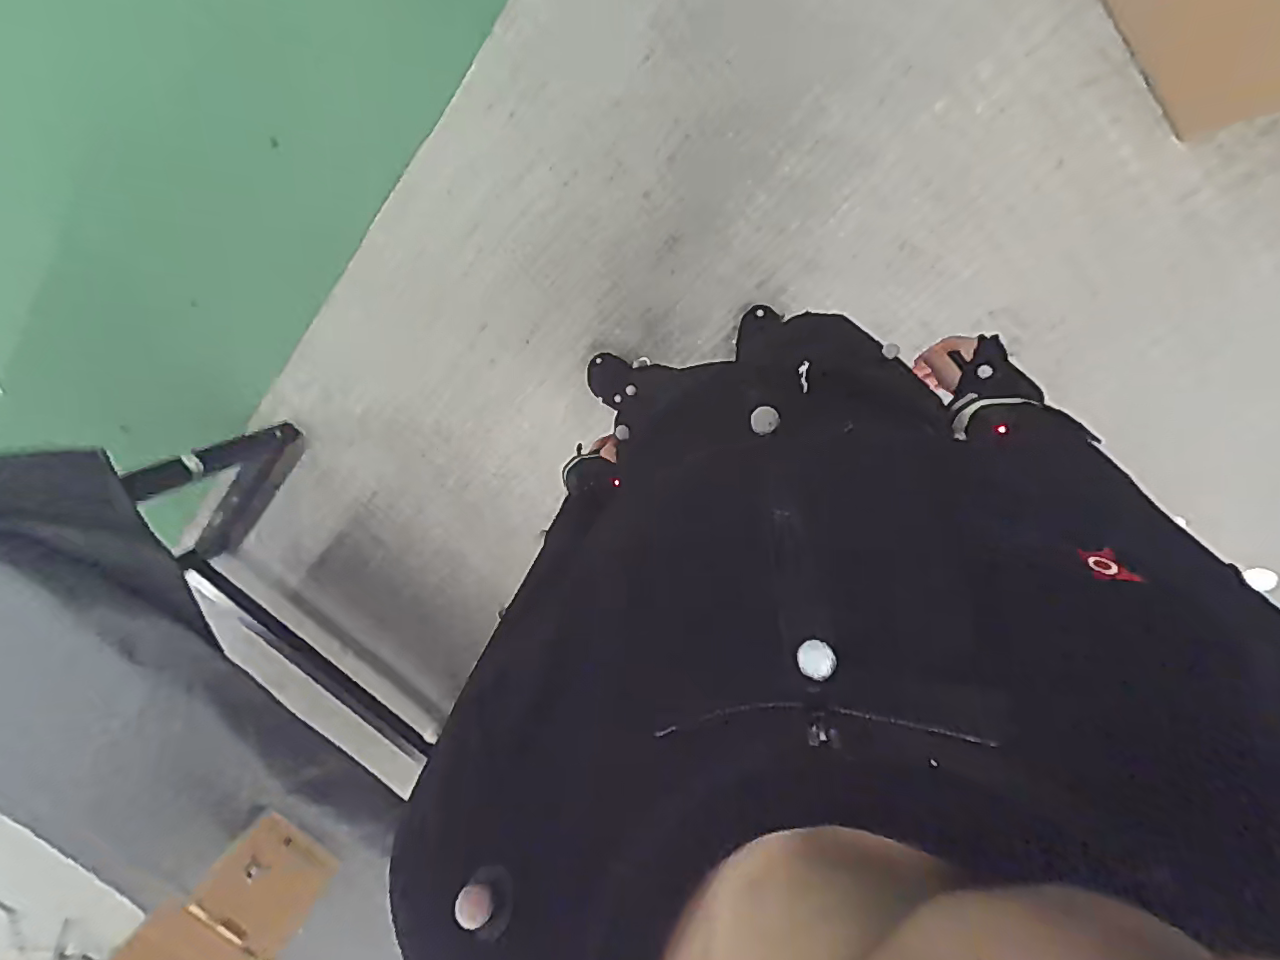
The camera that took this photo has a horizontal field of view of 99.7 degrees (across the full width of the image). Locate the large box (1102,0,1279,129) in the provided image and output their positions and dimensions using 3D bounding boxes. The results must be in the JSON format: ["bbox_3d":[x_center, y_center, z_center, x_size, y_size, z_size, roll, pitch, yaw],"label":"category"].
[{"bbox_3d":[0.970,-0.833,0.792,0.320,0.320,0.408,-39,101,20],"label":"large box"}]

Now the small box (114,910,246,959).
[{"bbox_3d":[-0.692,0.761,0.758,0.179,0.176,0.168,37,112,-4],"label":"small box"}]

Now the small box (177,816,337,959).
[{"bbox_3d":[-0.652,0.714,0.909,0.168,0.176,0.179,44,112,-6],"label":"small box"}]
